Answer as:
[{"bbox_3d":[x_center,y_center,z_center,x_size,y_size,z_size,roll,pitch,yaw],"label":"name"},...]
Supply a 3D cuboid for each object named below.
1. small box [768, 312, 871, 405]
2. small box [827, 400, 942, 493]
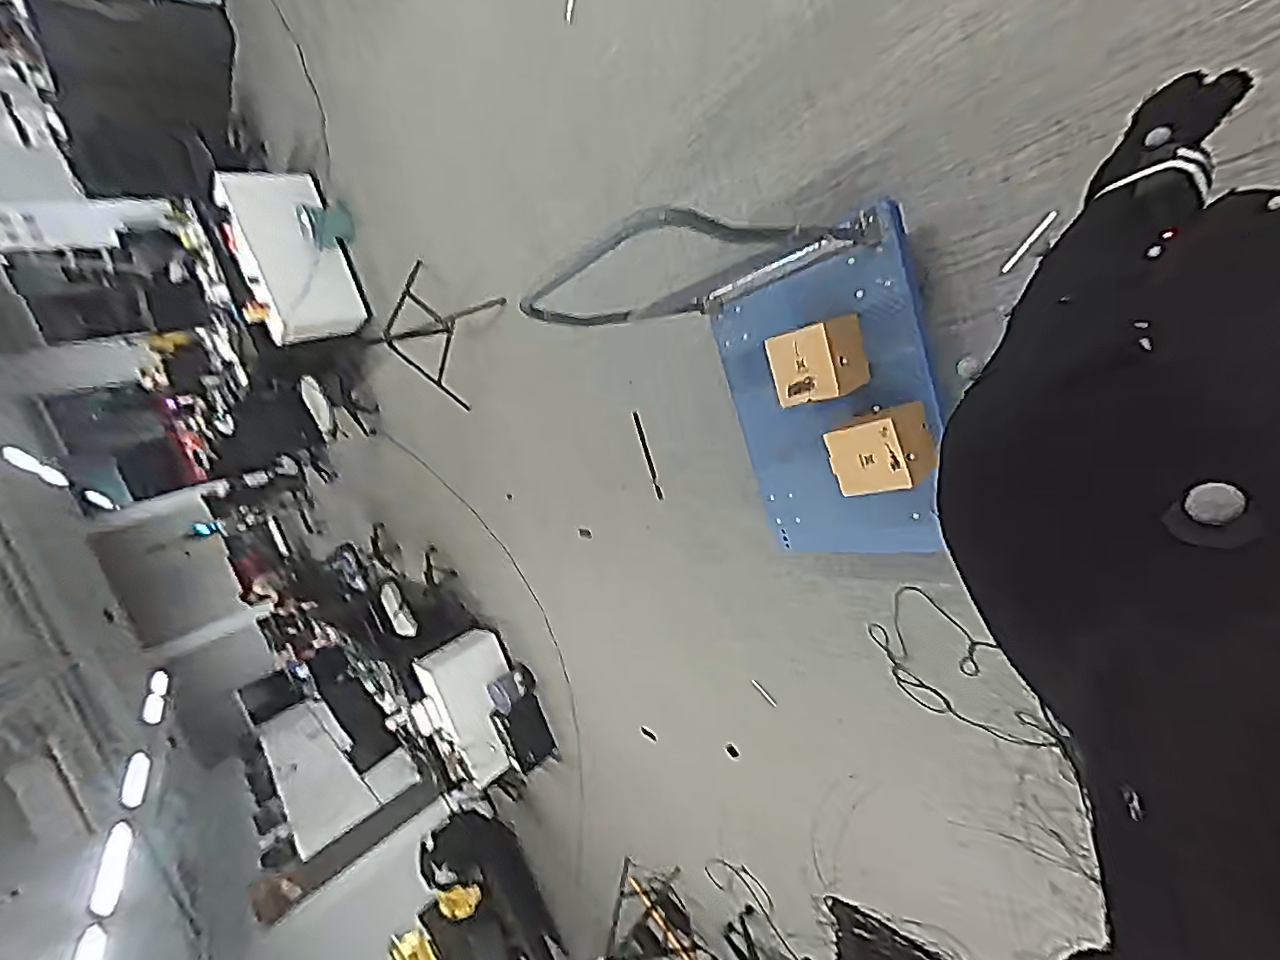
[{"bbox_3d":[0.451,-0.302,1.347,0.168,0.176,0.179,-6,105,50],"label":"small box"},{"bbox_3d":[0.591,-0.080,1.307,0.179,0.176,0.168,-14,99,52],"label":"small box"}]
